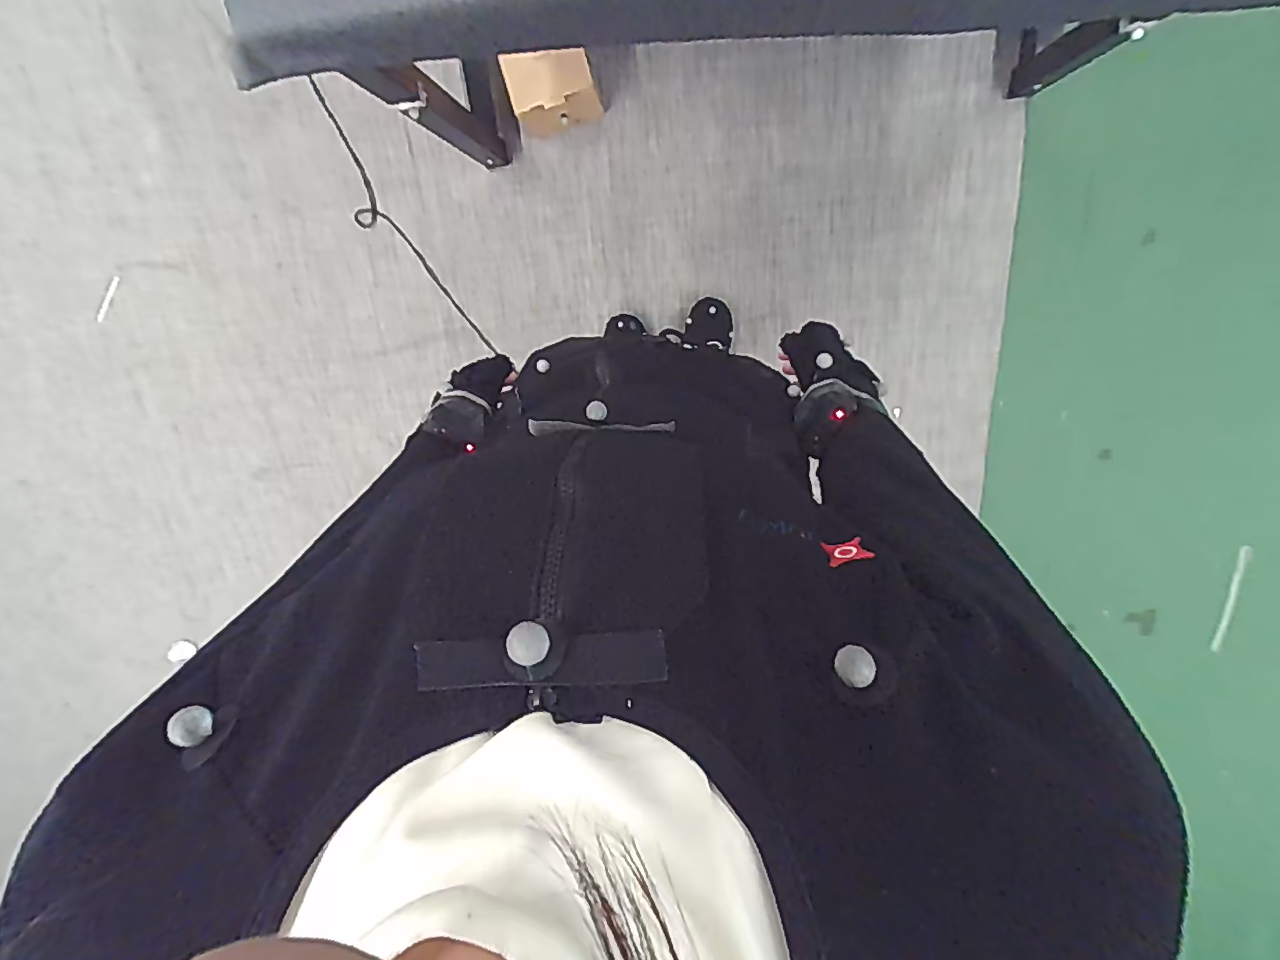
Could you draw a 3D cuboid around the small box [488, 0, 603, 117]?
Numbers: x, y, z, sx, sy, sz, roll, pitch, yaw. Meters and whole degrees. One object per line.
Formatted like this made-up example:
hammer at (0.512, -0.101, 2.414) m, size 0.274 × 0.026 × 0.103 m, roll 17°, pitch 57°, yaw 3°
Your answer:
small box at (-0.179, -0.865, 1.093) m, size 0.168 × 0.176 × 0.179 m, roll -12°, pitch 109°, yaw 8°
